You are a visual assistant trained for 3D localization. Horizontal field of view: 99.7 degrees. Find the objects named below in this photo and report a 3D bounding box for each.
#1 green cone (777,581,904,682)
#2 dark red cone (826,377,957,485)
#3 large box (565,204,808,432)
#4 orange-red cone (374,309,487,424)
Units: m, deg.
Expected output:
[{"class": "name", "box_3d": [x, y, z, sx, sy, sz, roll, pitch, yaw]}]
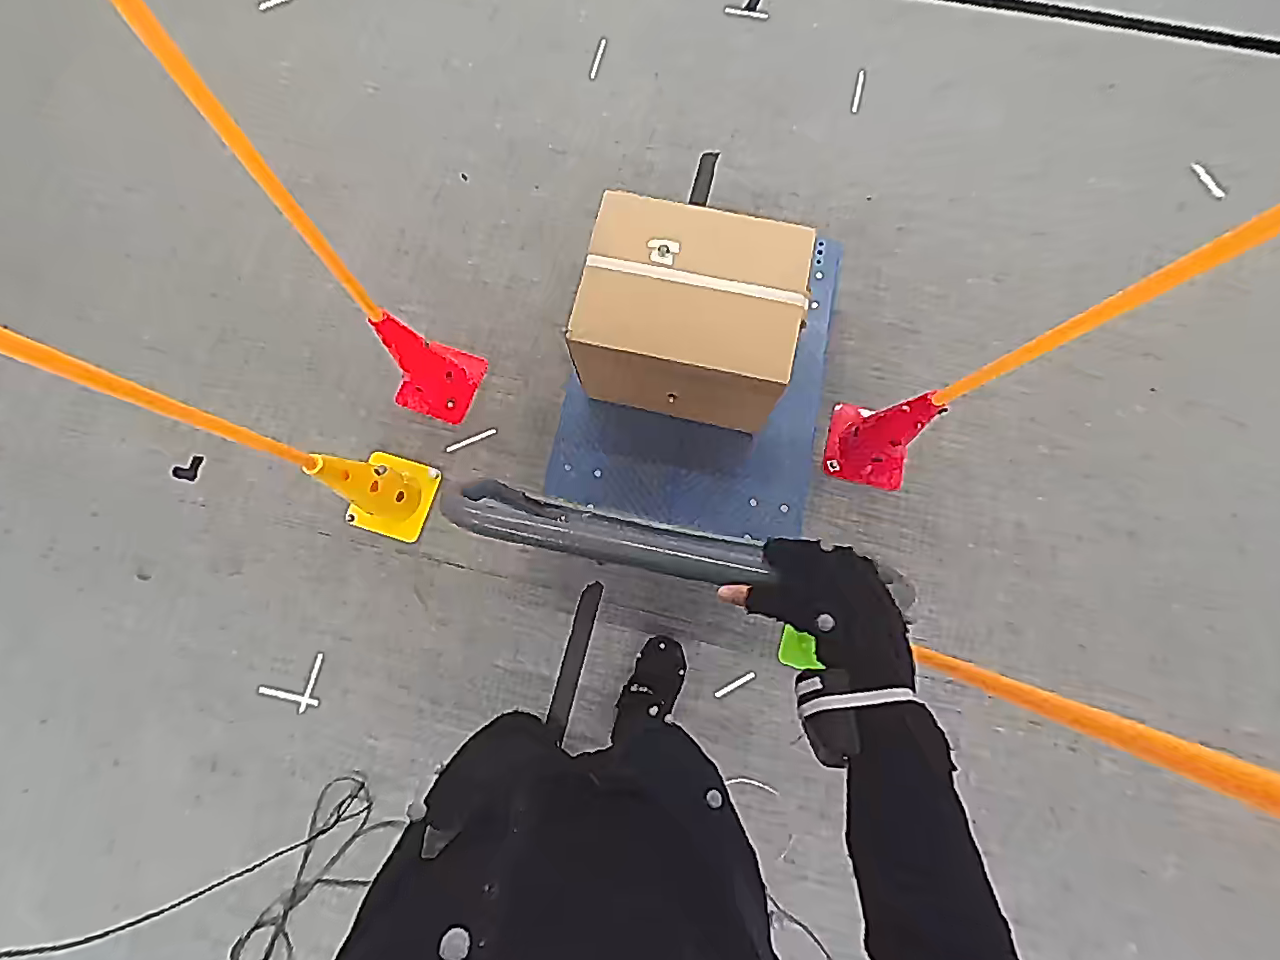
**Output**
[{"class": "green cone", "box_3d": [0.444, 0.326, 1.132, 0.202, 0.368, 0.200, 17, 79, 4]}, {"class": "dark red cone", "box_3d": [0.580, -0.133, 1.210, 0.201, 0.394, 0.202, 14, 79, 3]}, {"class": "large box", "box_3d": [0.097, -0.317, 1.136, 0.408, 0.320, 0.320, 13, 79, 5]}, {"class": "orange-red cone", "box_3d": [-0.538, -0.305, 1.299, 0.198, 0.360, 0.199, 21, 78, 5]}]
